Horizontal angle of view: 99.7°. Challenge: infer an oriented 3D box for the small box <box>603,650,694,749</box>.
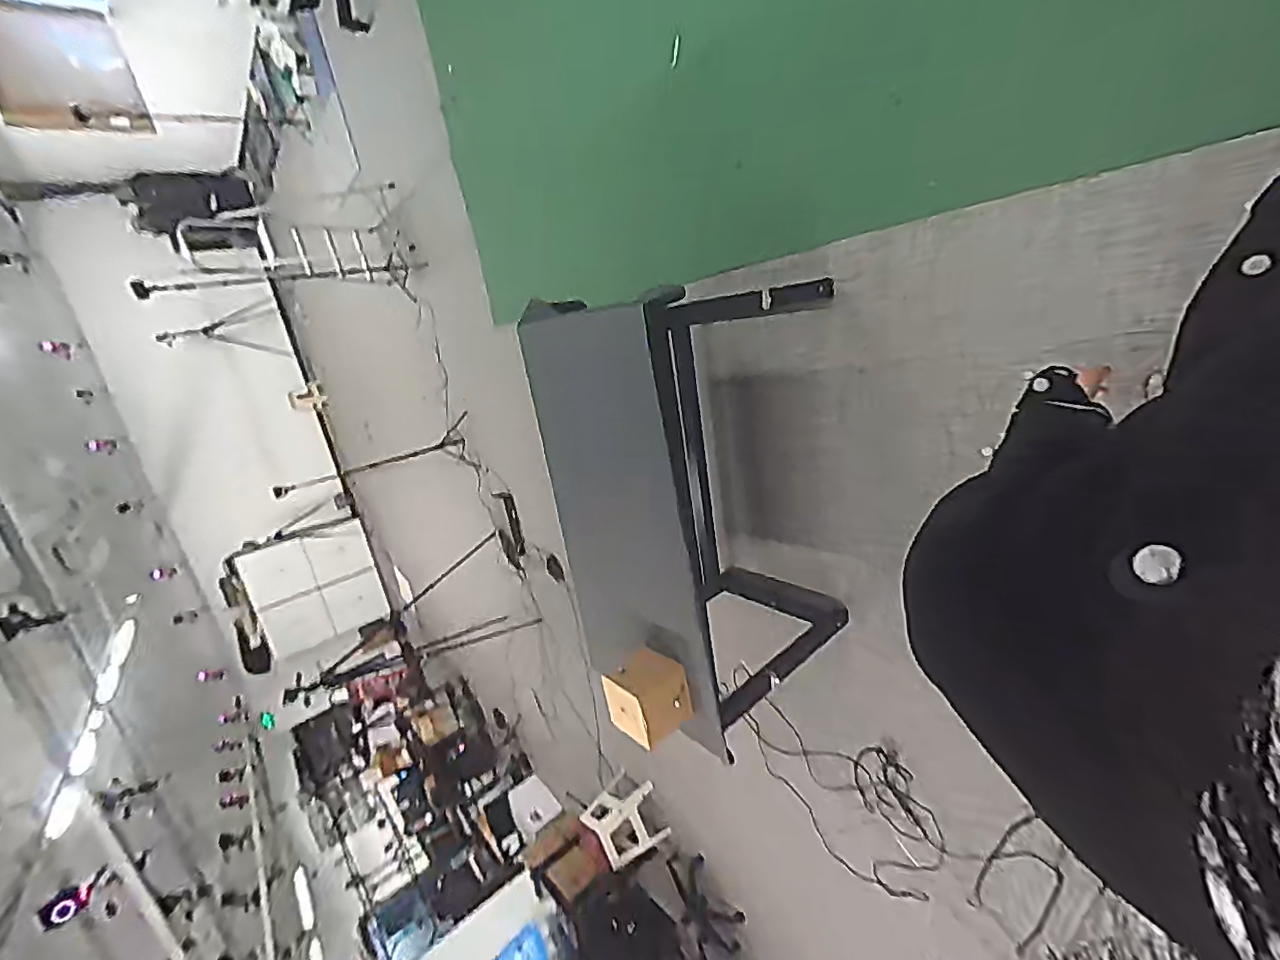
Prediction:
[{"bbox_3d":[0.026,0.600,1.508,0.179,0.176,0.168,8,115,51],"label":"small box"}]
